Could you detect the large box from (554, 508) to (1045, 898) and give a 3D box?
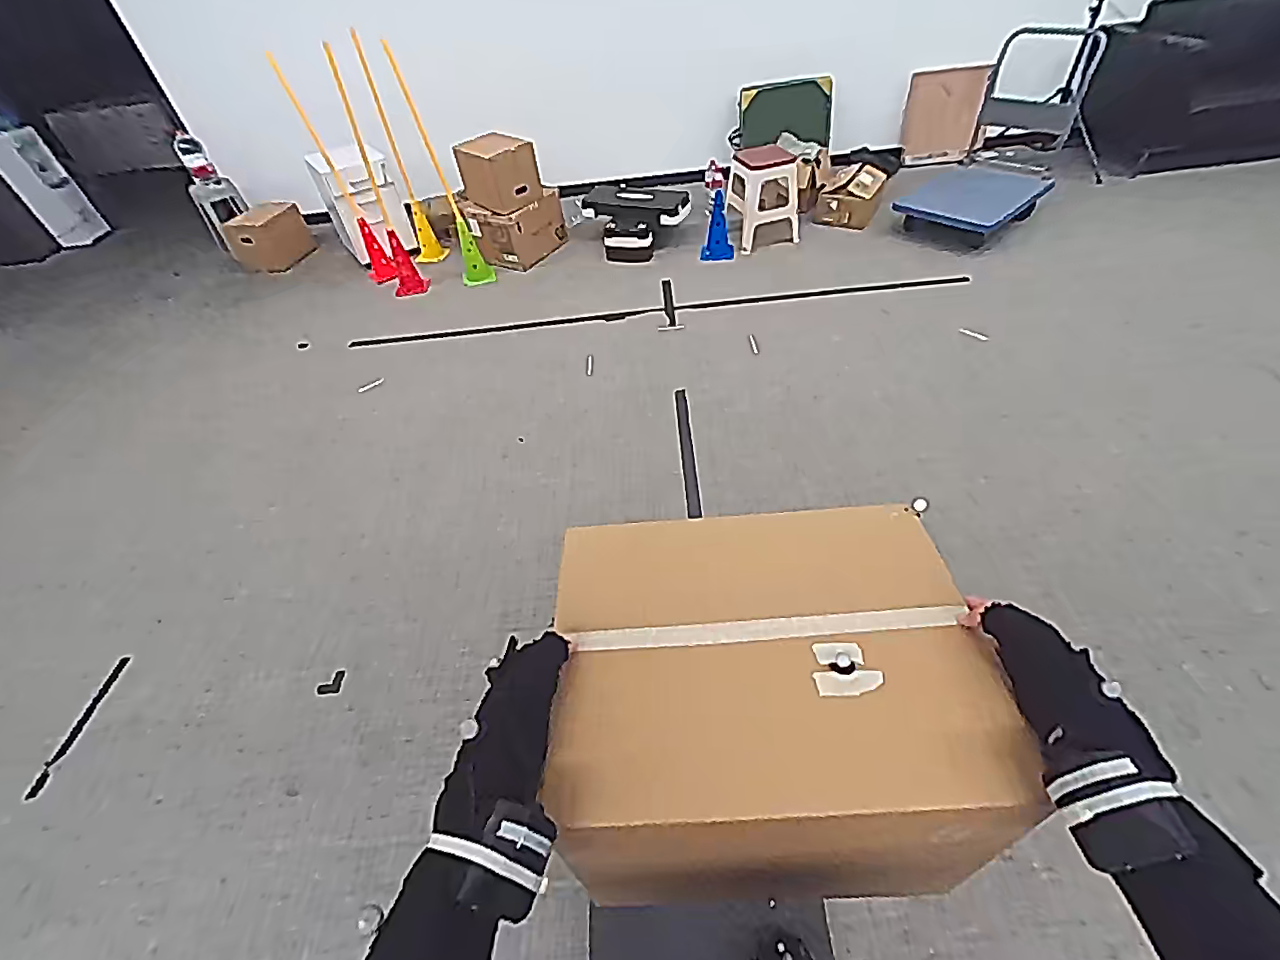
[{"bbox_3d":[0.133,0.262,0.640,0.408,0.320,0.320,-5,43,3],"label":"large box"}]
